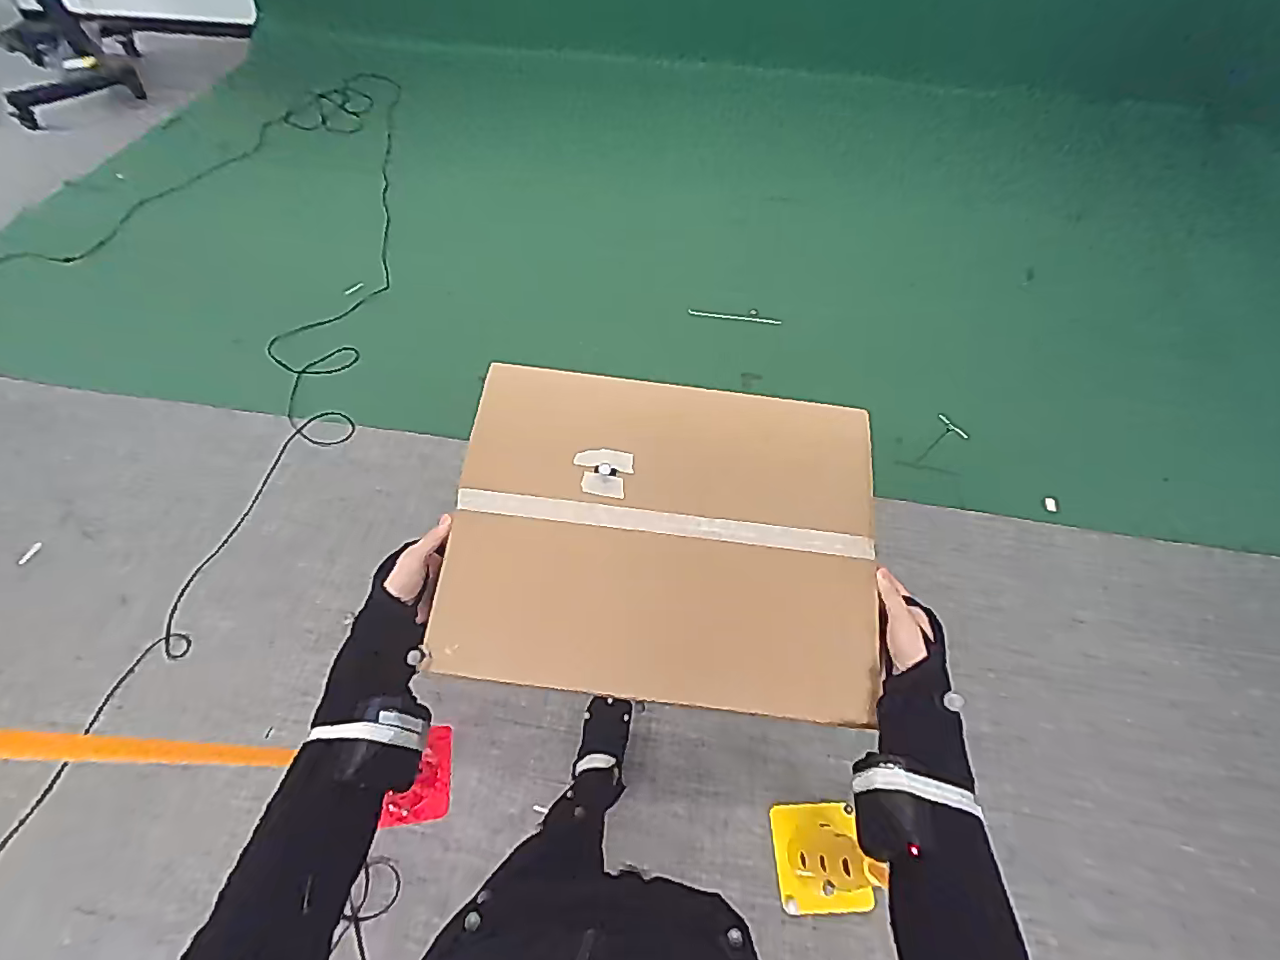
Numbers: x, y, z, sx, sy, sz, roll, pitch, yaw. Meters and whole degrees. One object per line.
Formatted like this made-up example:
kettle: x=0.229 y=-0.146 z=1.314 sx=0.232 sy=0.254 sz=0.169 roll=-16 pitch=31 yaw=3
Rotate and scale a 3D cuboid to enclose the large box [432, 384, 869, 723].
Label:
large box: x=0.021 y=0.107 z=0.676 sx=0.408 sy=0.320 sz=0.320 roll=7 pitch=68 yaw=1
